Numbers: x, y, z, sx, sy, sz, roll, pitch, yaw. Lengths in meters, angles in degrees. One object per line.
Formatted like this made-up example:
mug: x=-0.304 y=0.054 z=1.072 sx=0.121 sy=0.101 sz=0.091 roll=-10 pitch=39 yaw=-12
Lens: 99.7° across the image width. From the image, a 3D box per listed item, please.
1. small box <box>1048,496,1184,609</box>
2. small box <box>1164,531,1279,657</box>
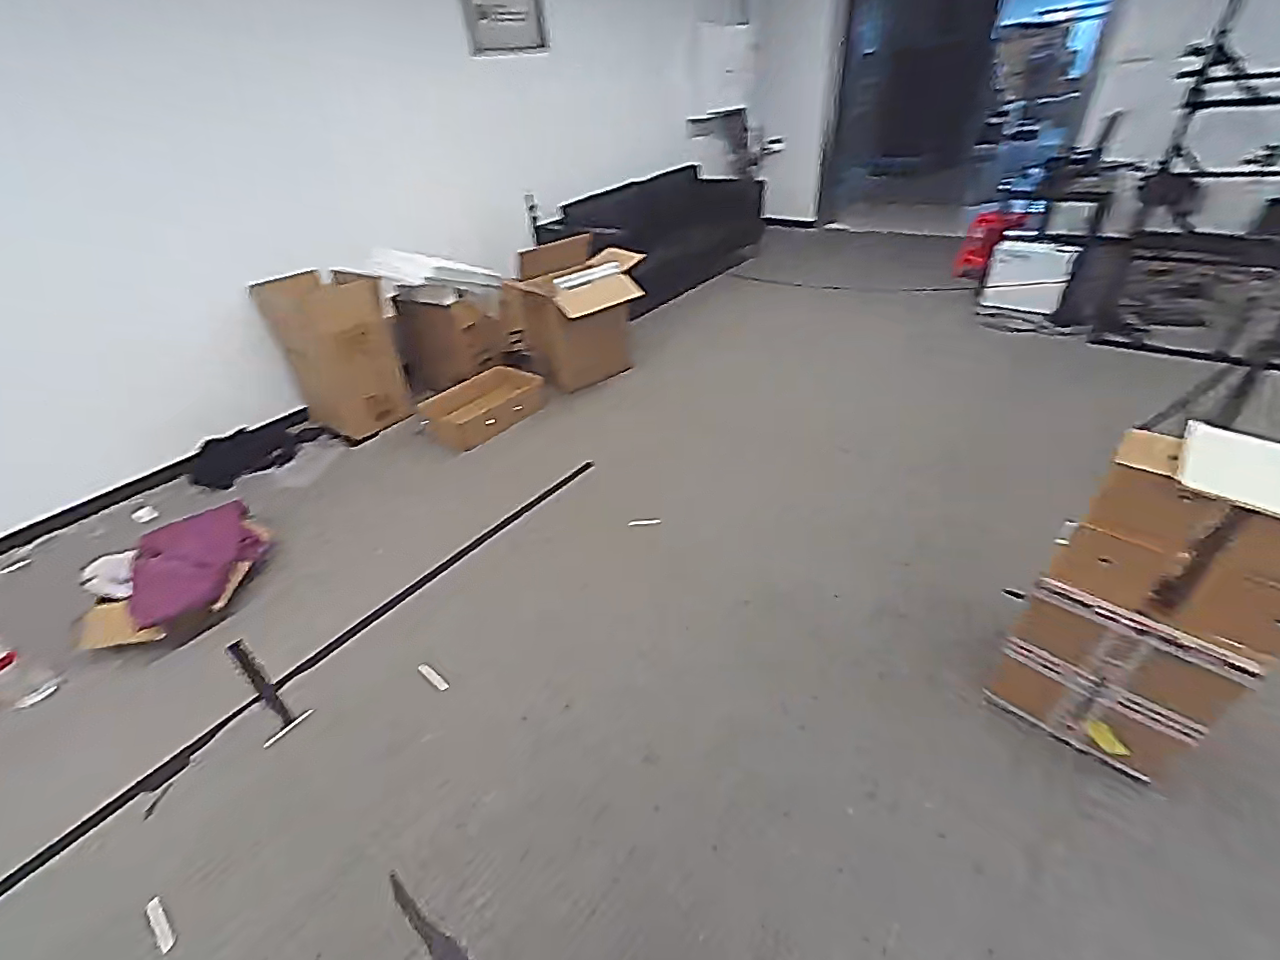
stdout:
small box: x=1.106 y=0.173 z=1.267 sx=0.168 sy=0.176 sz=0.179 roll=-34 pitch=43 yaw=-30
small box: x=1.270 y=0.245 z=1.147 sx=0.179 sy=0.176 sz=0.168 roll=22 pitch=46 yaw=32
